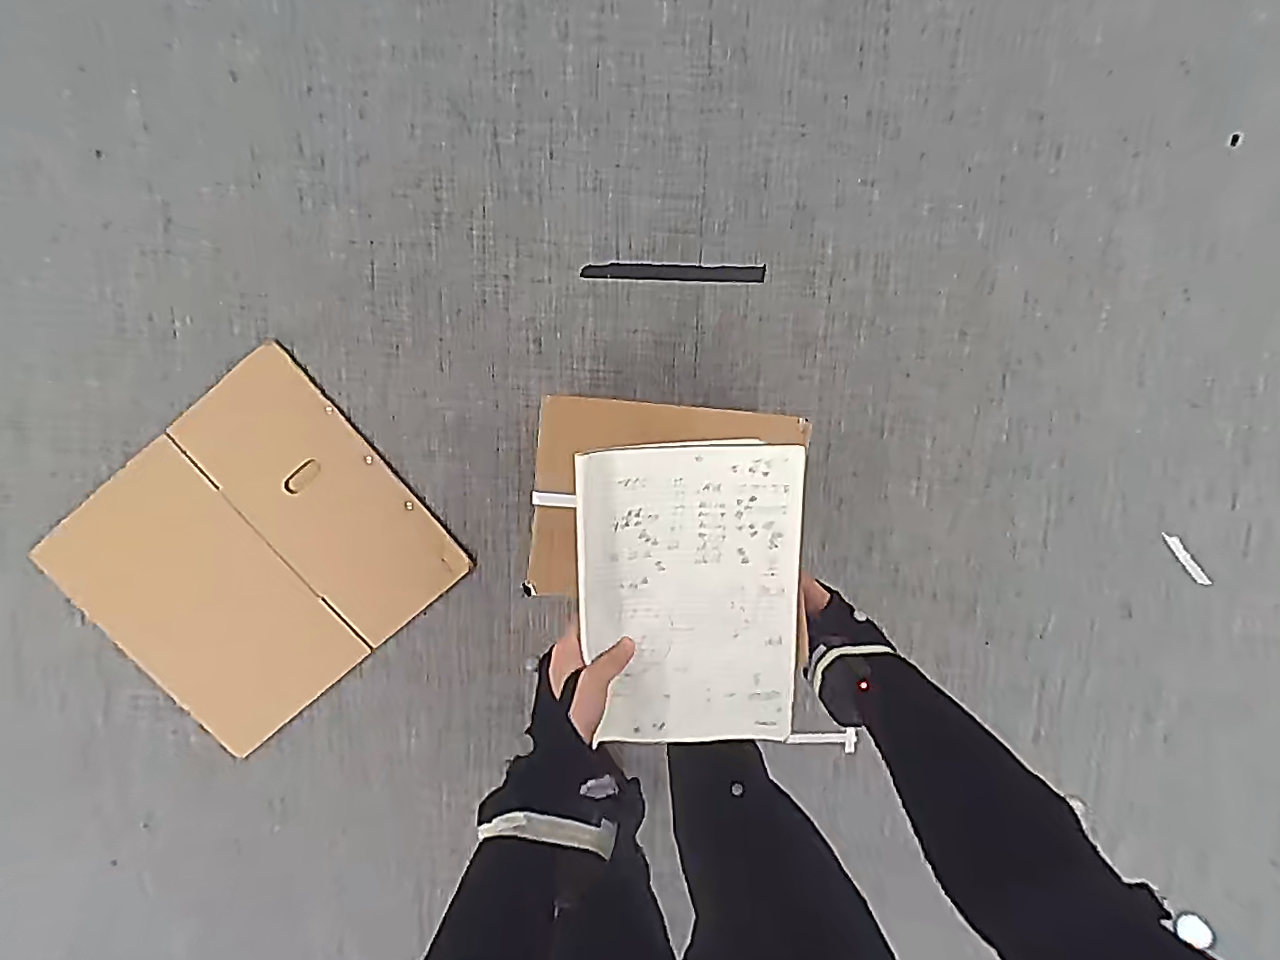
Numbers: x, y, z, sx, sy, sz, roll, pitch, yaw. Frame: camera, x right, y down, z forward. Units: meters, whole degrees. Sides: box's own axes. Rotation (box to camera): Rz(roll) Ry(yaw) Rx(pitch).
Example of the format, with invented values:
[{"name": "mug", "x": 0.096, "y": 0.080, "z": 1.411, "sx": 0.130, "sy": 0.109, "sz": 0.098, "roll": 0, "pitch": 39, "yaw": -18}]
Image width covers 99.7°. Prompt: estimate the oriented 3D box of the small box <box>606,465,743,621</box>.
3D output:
[{"name": "small box", "x": 0.040, "y": 0.076, "z": 0.735, "sx": 0.168, "sy": 0.176, "sz": 0.179, "roll": -1, "pitch": 98, "yaw": -2}]
